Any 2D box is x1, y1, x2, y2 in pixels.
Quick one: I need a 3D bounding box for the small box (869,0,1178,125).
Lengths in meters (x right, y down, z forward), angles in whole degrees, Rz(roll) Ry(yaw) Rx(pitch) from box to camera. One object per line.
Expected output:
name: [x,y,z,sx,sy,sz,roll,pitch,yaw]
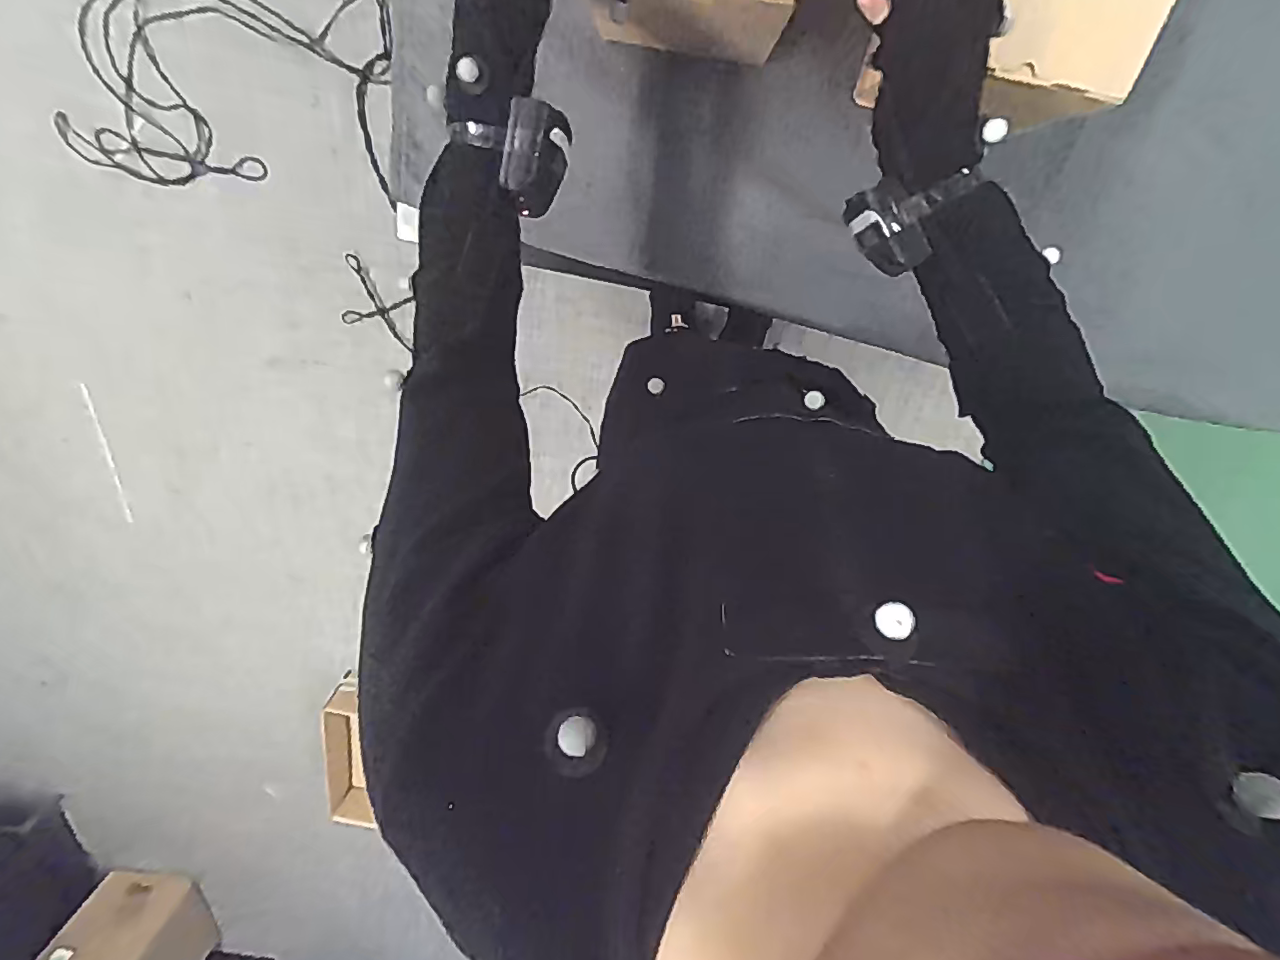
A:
small box: [0.314,-0.418,0.441,0.168,0.176,0.179,12,116,-1]
